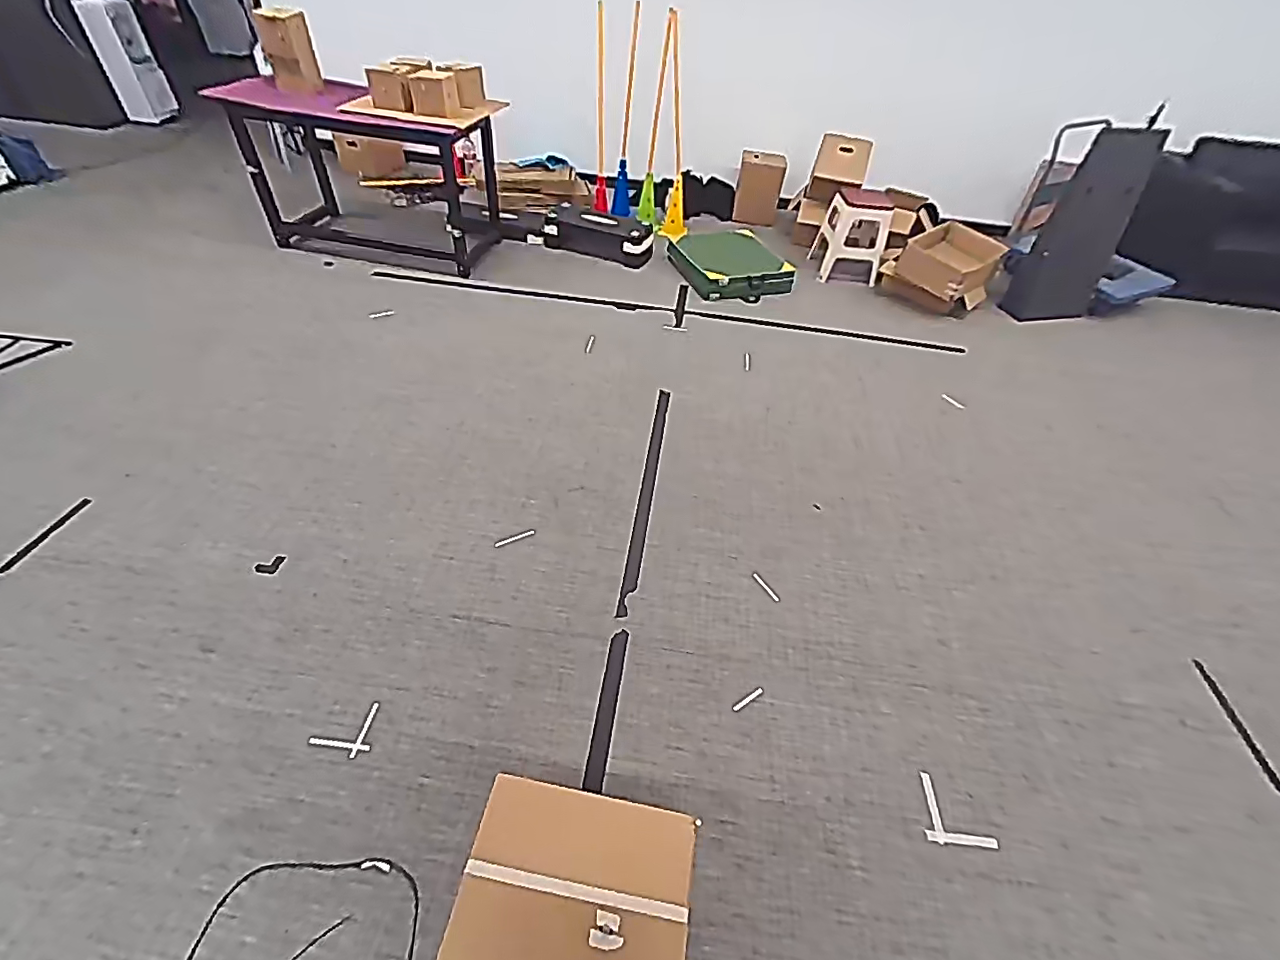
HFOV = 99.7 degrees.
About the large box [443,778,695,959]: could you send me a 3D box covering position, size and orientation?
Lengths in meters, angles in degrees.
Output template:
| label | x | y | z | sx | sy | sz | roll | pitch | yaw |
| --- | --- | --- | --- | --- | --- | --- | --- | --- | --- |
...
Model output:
| label | x | y | z | sx | sy | sz | roll | pitch | yaw |
| --- | --- | --- | --- | --- | --- | --- | --- | --- | --- |
| large box | -0.126 | 0.840 | 1.069 | 0.408 | 0.320 | 0.320 | 11 | 45 | 3 |
